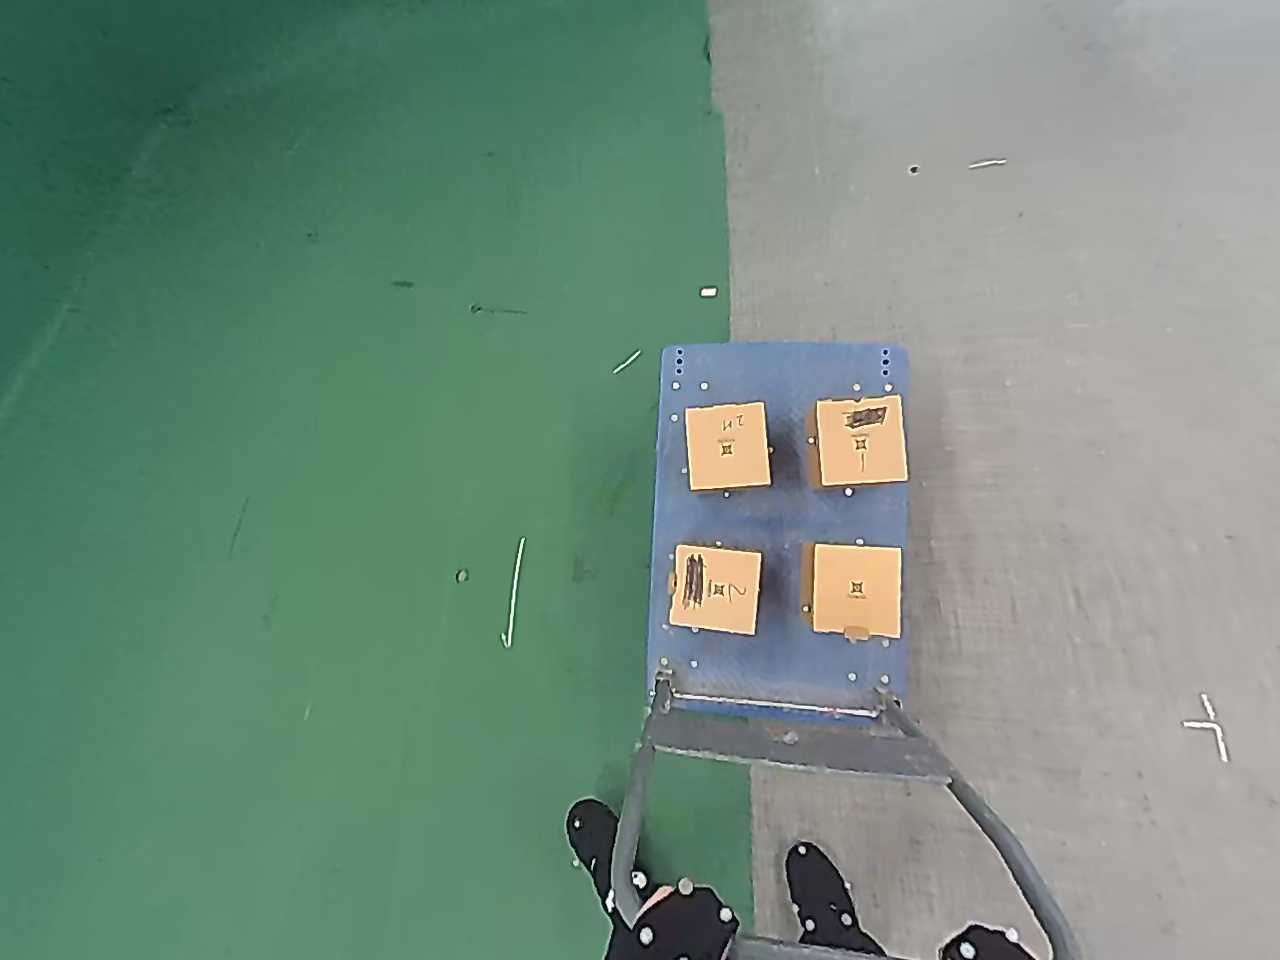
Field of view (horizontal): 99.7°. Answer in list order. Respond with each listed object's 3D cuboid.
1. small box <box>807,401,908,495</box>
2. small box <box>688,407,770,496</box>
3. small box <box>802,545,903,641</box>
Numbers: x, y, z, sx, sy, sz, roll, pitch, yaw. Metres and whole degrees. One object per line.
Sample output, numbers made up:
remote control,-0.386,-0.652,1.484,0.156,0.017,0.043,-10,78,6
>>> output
small box,0.460,-0.063,1.169,0.168,0.176,0.179,-3,85,8
small box,0.197,-0.056,1.205,0.168,0.176,0.179,-4,84,7
small box,0.441,0.231,1.143,0.168,0.176,0.179,2,85,8
